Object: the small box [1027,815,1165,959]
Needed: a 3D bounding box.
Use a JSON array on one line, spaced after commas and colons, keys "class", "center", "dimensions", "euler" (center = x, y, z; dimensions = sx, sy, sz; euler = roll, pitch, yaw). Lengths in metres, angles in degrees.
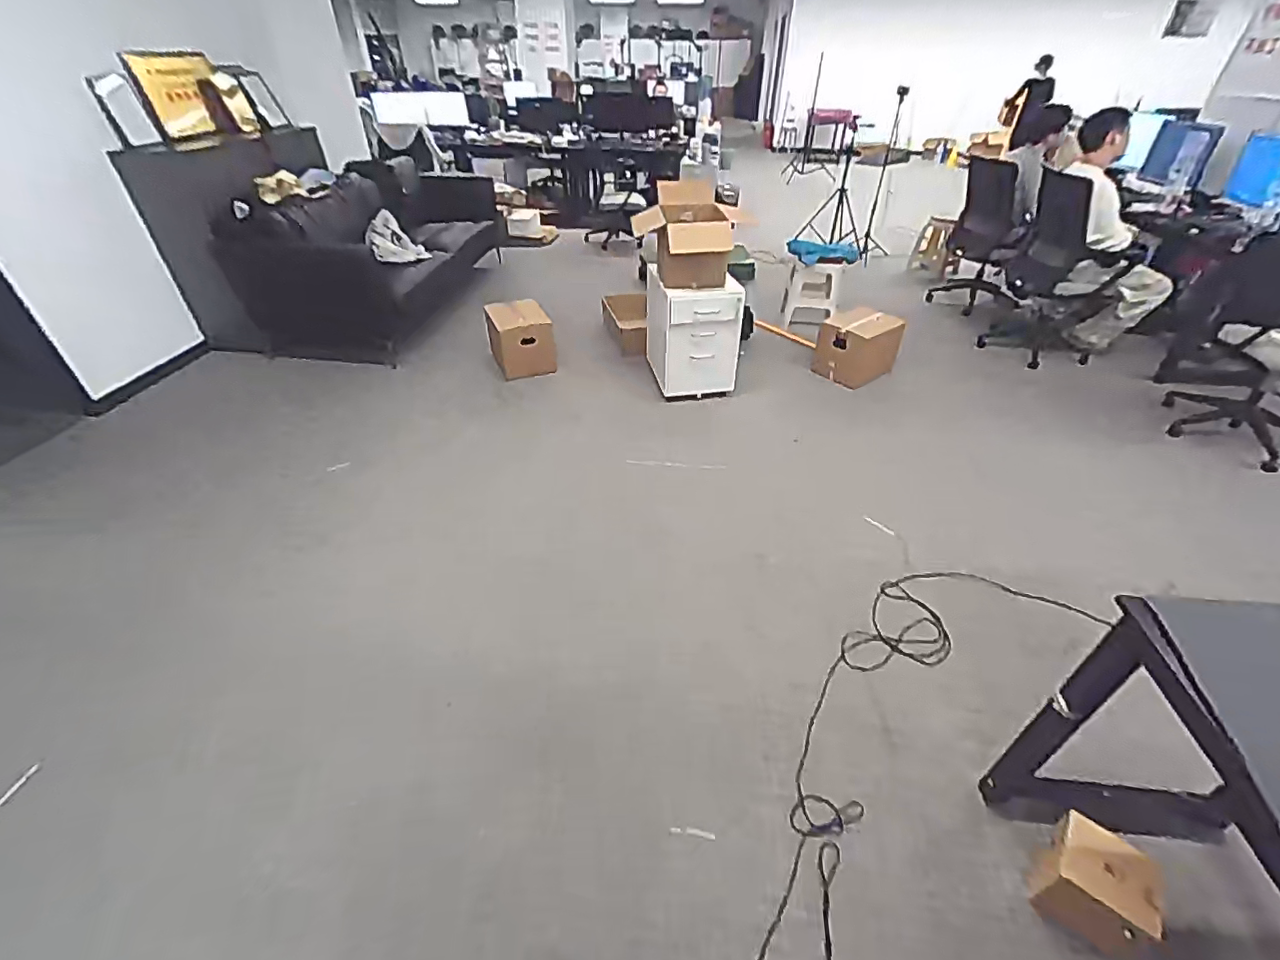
[{"class": "small box", "center": [0.989, 0.892, 1.182], "dimensions": [0.179, 0.176, 0.168], "euler": [28, 45, 30]}]
